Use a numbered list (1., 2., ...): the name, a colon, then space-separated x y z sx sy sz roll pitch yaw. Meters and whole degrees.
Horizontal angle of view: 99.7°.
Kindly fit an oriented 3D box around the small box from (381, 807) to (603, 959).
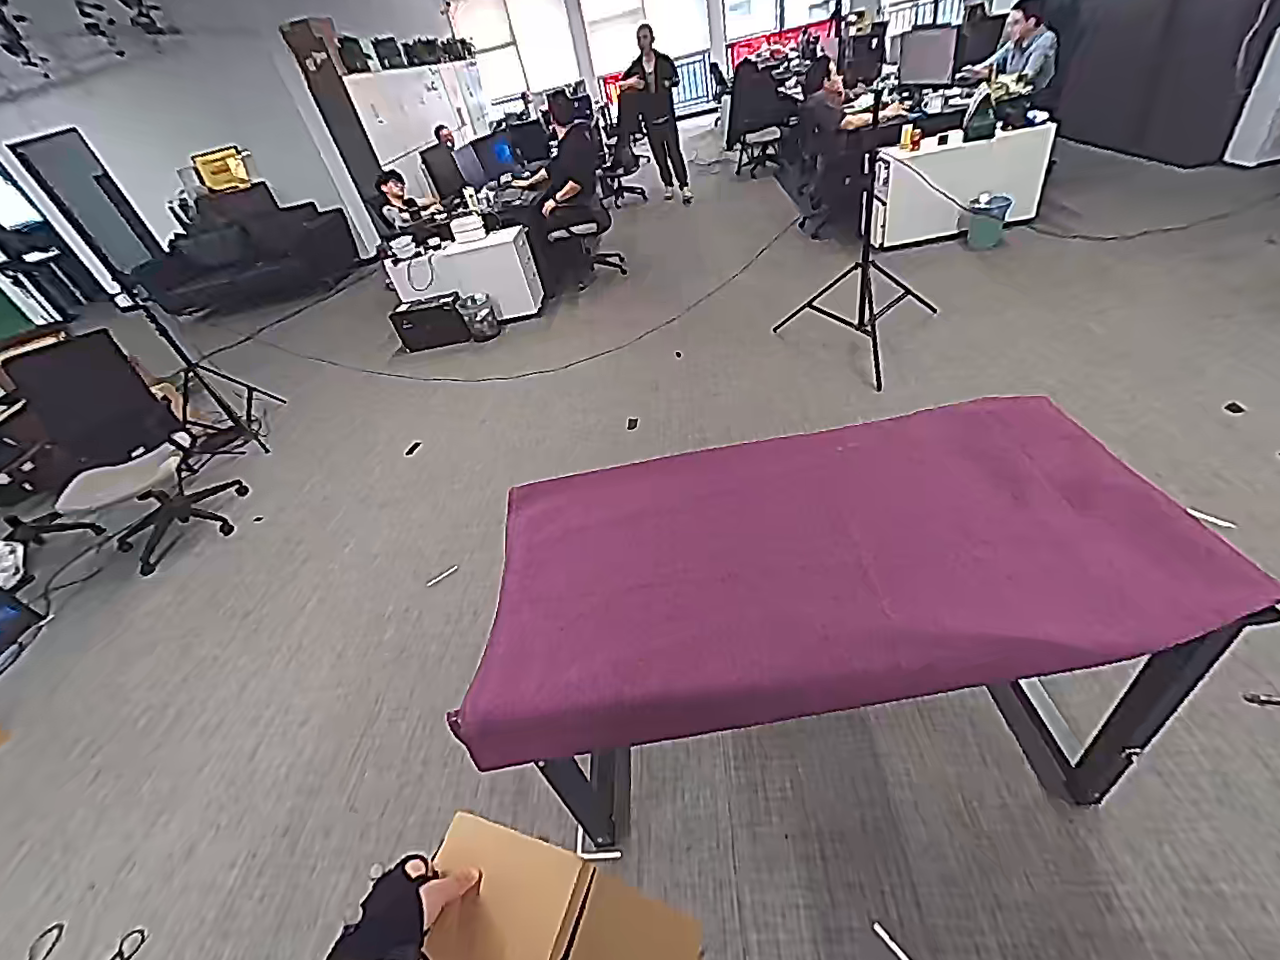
1. small box: -0.151 0.506 0.608 0.179 0.176 0.168 13 48 15
